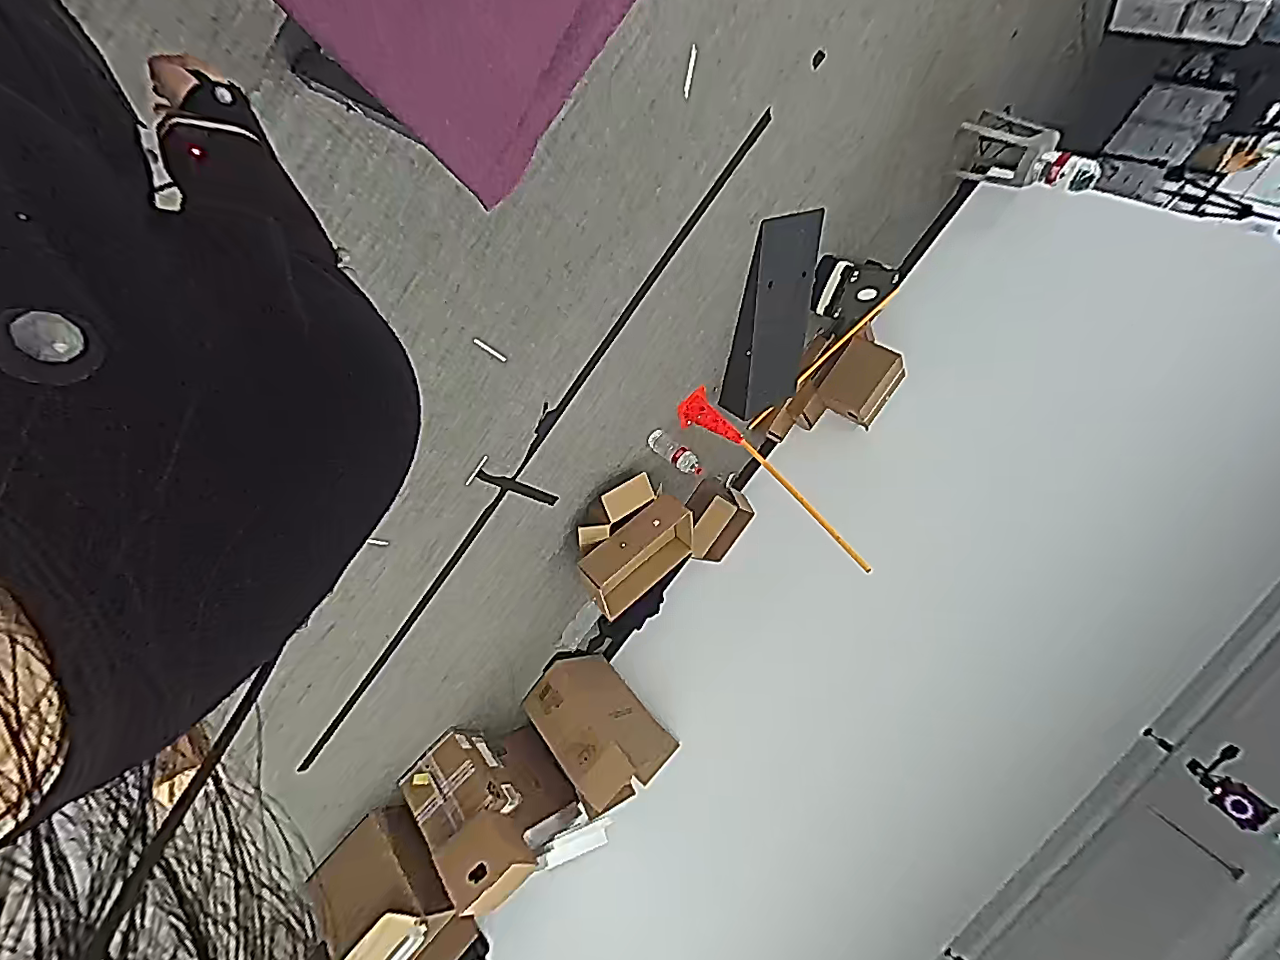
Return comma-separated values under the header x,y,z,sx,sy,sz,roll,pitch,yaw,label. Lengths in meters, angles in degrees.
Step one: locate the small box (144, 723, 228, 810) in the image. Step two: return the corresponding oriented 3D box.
x,y,z,sx,sy,sz,roll,pitch,yaw,label
-1.524,0.952,1.816,0.168,0.176,0.179,-21,141,-38,small box
